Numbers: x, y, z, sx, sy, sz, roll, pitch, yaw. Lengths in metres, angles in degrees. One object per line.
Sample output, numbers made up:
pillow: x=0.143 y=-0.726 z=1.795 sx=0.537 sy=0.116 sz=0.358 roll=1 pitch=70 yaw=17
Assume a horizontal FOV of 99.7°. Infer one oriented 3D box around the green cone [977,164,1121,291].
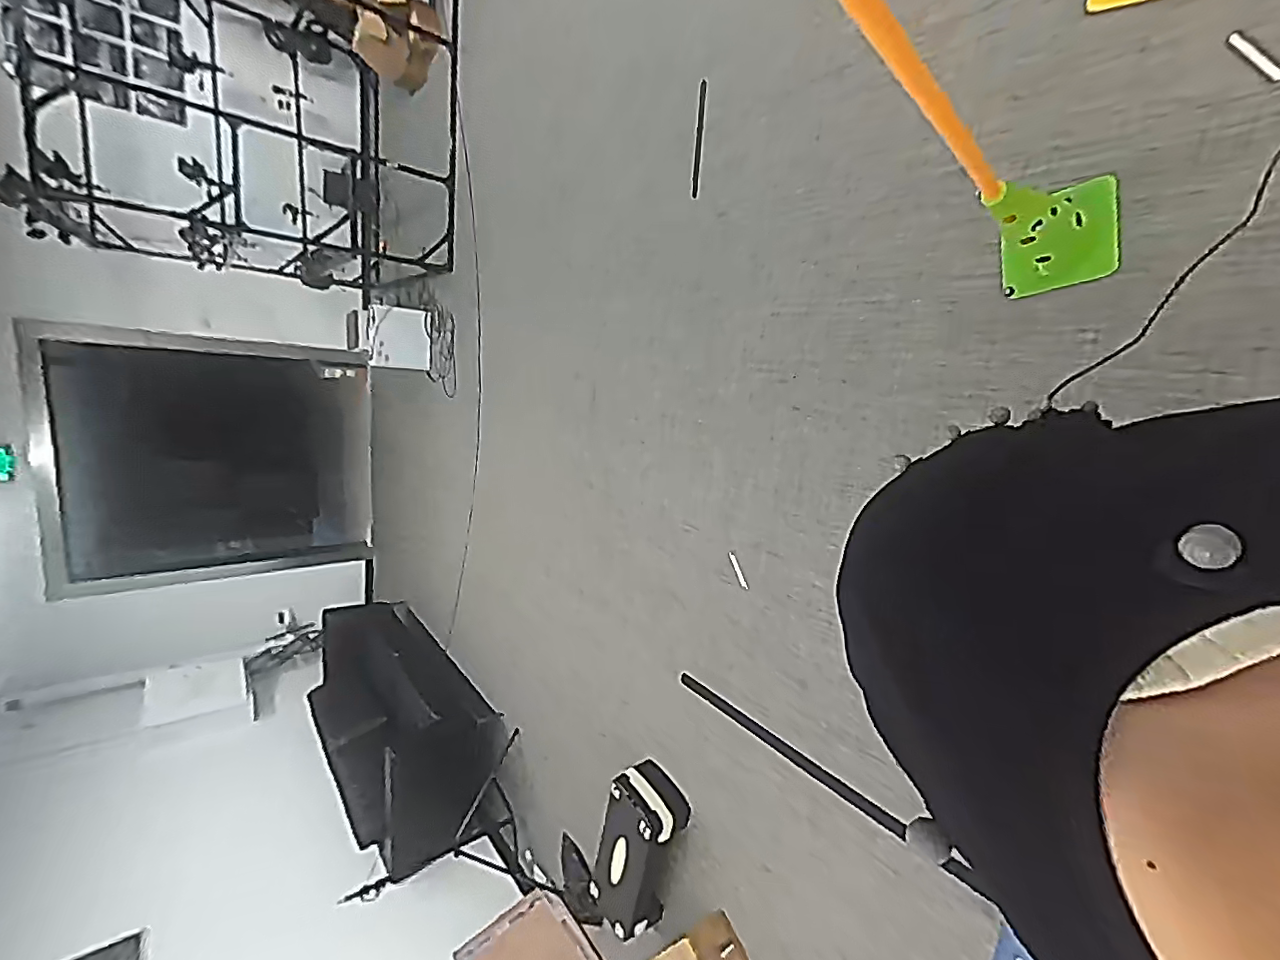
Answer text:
green cone: x=0.731 y=-0.509 z=1.015 sx=0.200 sy=0.368 sz=0.202 roll=-3 pitch=89 yaw=52
